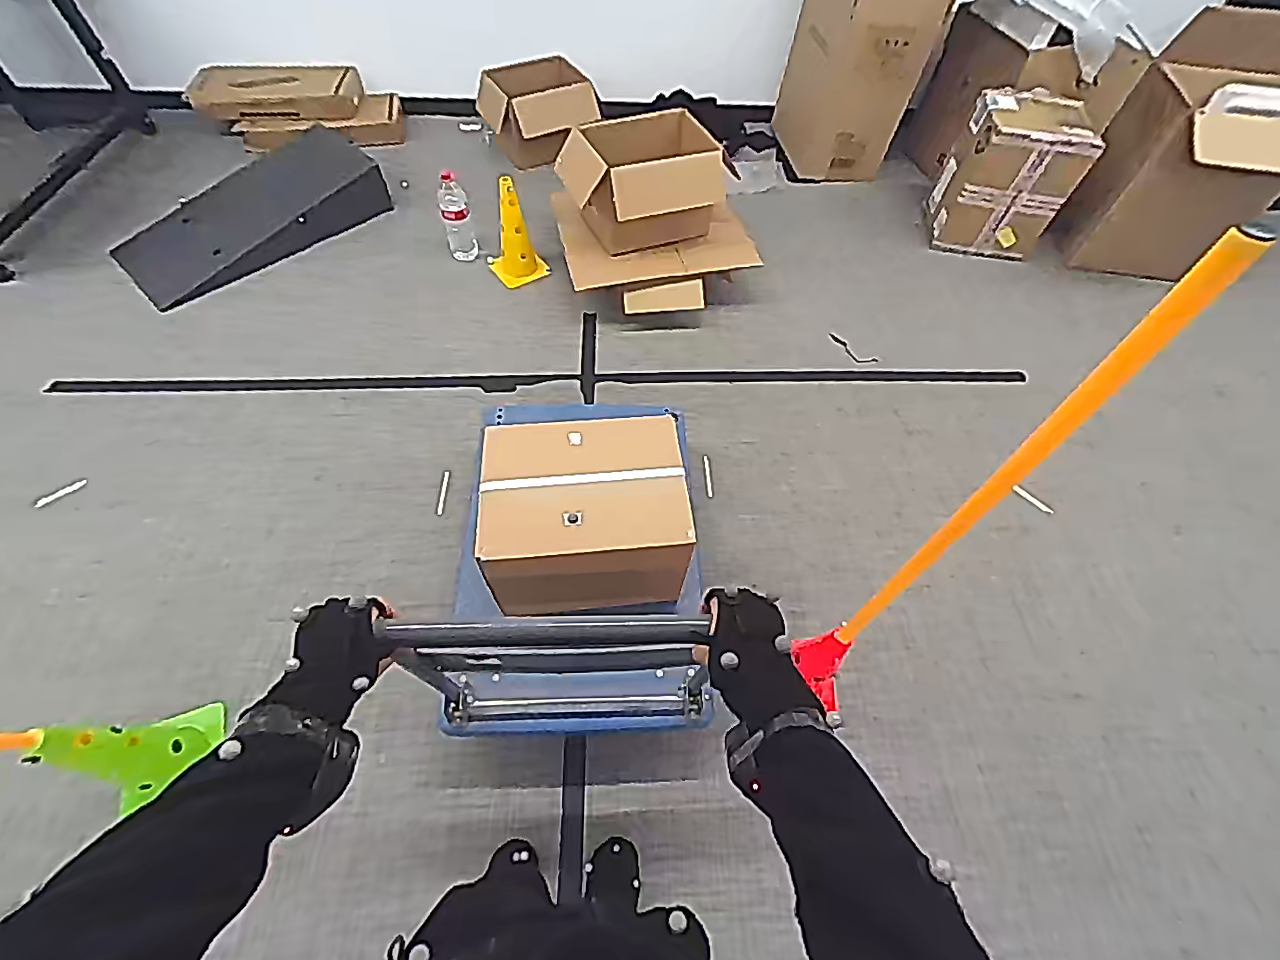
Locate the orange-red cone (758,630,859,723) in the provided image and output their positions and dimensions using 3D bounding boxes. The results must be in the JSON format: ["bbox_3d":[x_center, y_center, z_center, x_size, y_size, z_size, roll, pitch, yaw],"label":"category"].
[{"bbox_3d":[0.402,0.401,1.198,0.199,0.360,0.198,5,58,0],"label":"orange-red cone"}]
